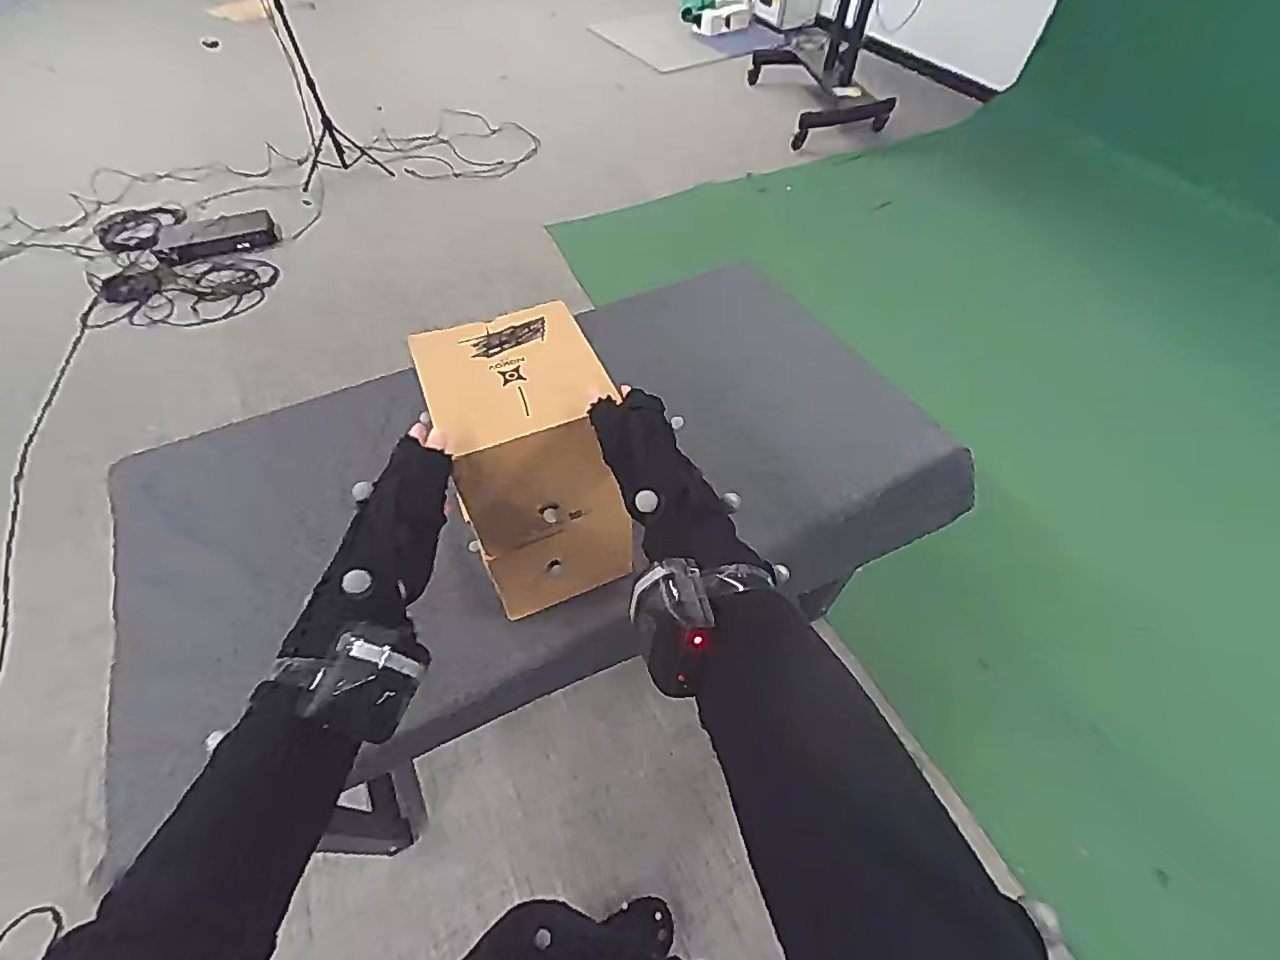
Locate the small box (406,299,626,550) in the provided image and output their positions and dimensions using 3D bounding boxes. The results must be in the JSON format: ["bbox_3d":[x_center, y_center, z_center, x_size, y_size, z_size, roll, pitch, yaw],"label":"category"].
[{"bbox_3d":[-0.125,-0.058,0.577,0.168,0.176,0.179,-22,55,-15],"label":"small box"}]

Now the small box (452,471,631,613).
[{"bbox_3d":[-0.121,0.047,0.704,0.179,0.176,0.168,-21,56,-13],"label":"small box"}]
